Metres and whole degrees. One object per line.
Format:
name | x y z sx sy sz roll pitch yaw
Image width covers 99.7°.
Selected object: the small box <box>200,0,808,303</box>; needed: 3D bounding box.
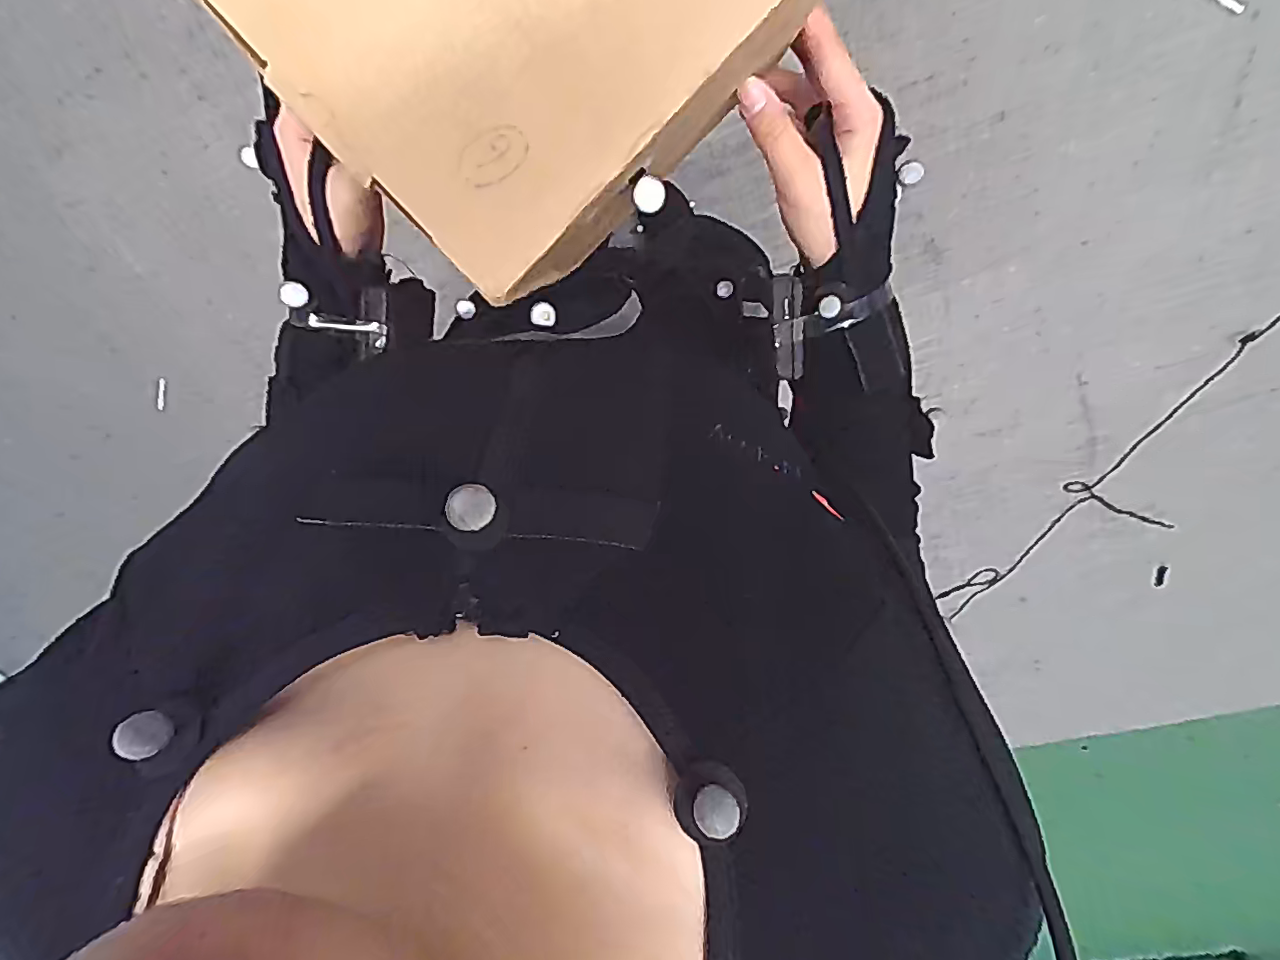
small box | -0.041 -0.206 0.235 0.179 0.176 0.168 -38 107 19
